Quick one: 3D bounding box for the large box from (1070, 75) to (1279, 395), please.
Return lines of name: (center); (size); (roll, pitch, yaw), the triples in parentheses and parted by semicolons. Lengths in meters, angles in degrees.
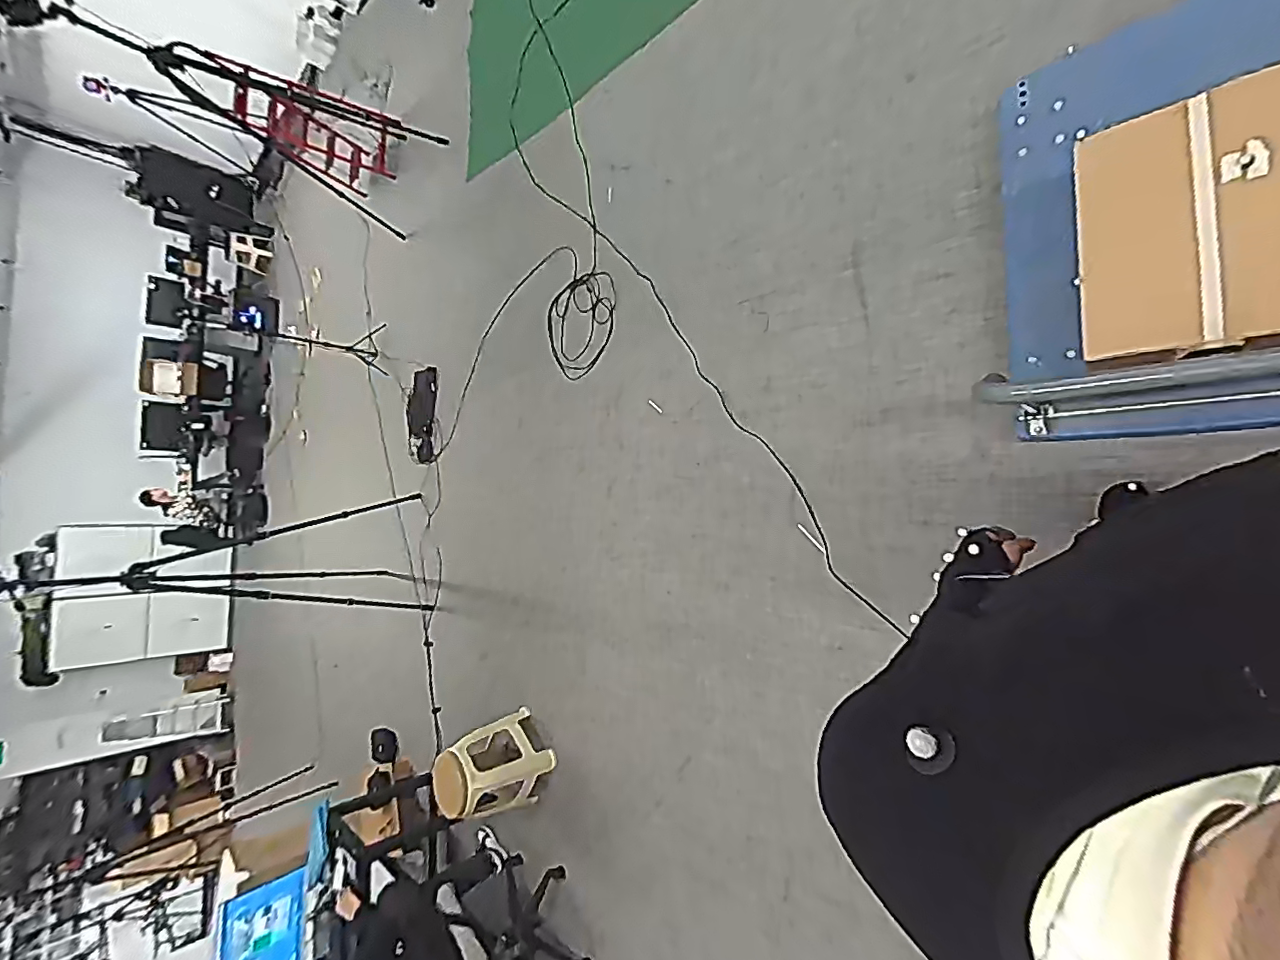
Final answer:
large box: (0.998, -0.397, 0.970); (0.320, 0.320, 0.408); (-4, 83, 42)
